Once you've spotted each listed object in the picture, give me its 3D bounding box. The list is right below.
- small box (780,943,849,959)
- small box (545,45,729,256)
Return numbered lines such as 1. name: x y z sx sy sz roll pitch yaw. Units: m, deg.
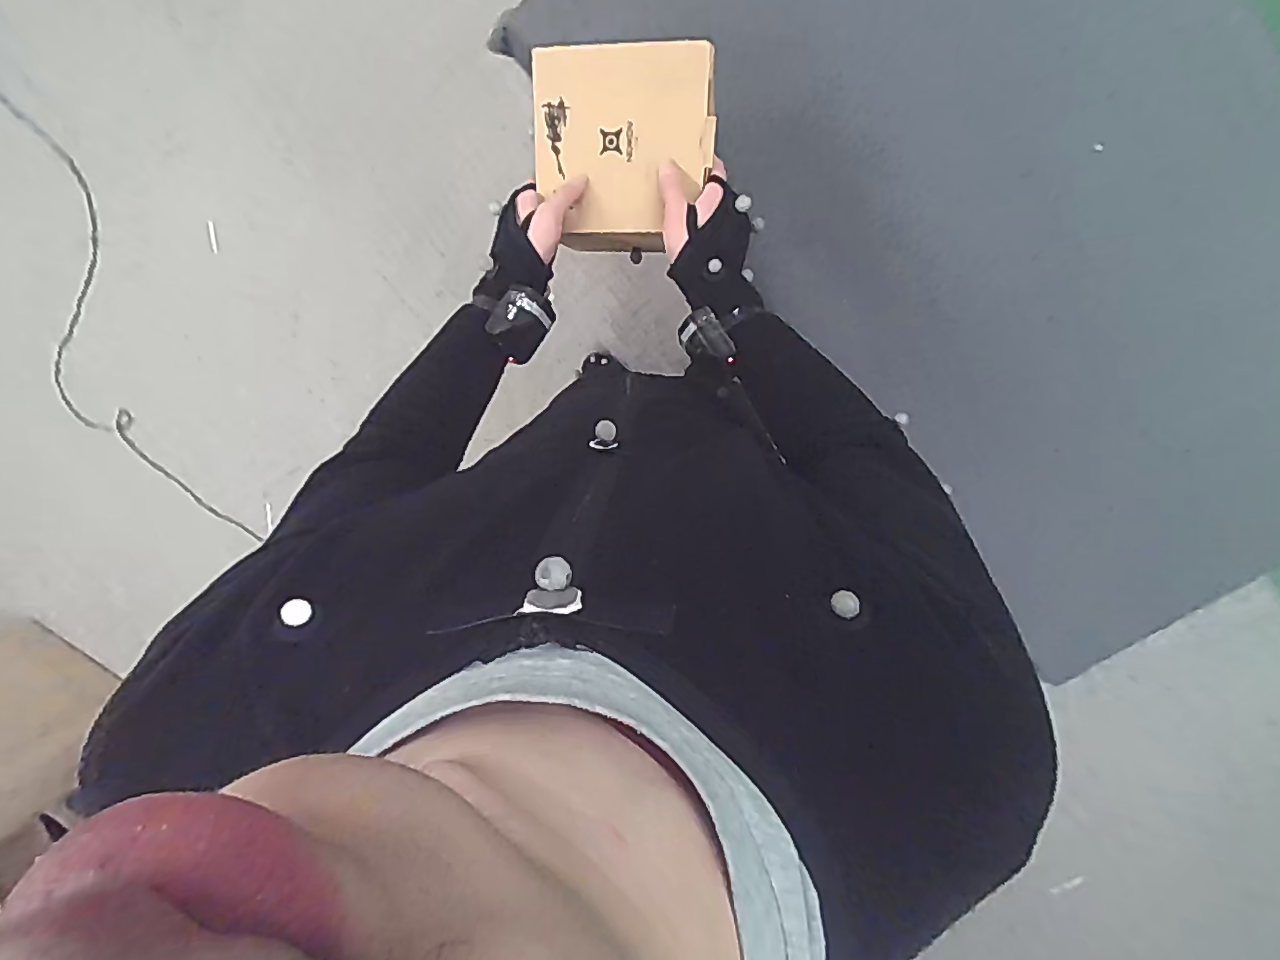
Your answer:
1. small box: 0.384 1.104 1.104 0.179 0.176 0.168 -38 96 17
2. small box: 0.000 -0.348 0.602 0.179 0.176 0.168 4 107 5
